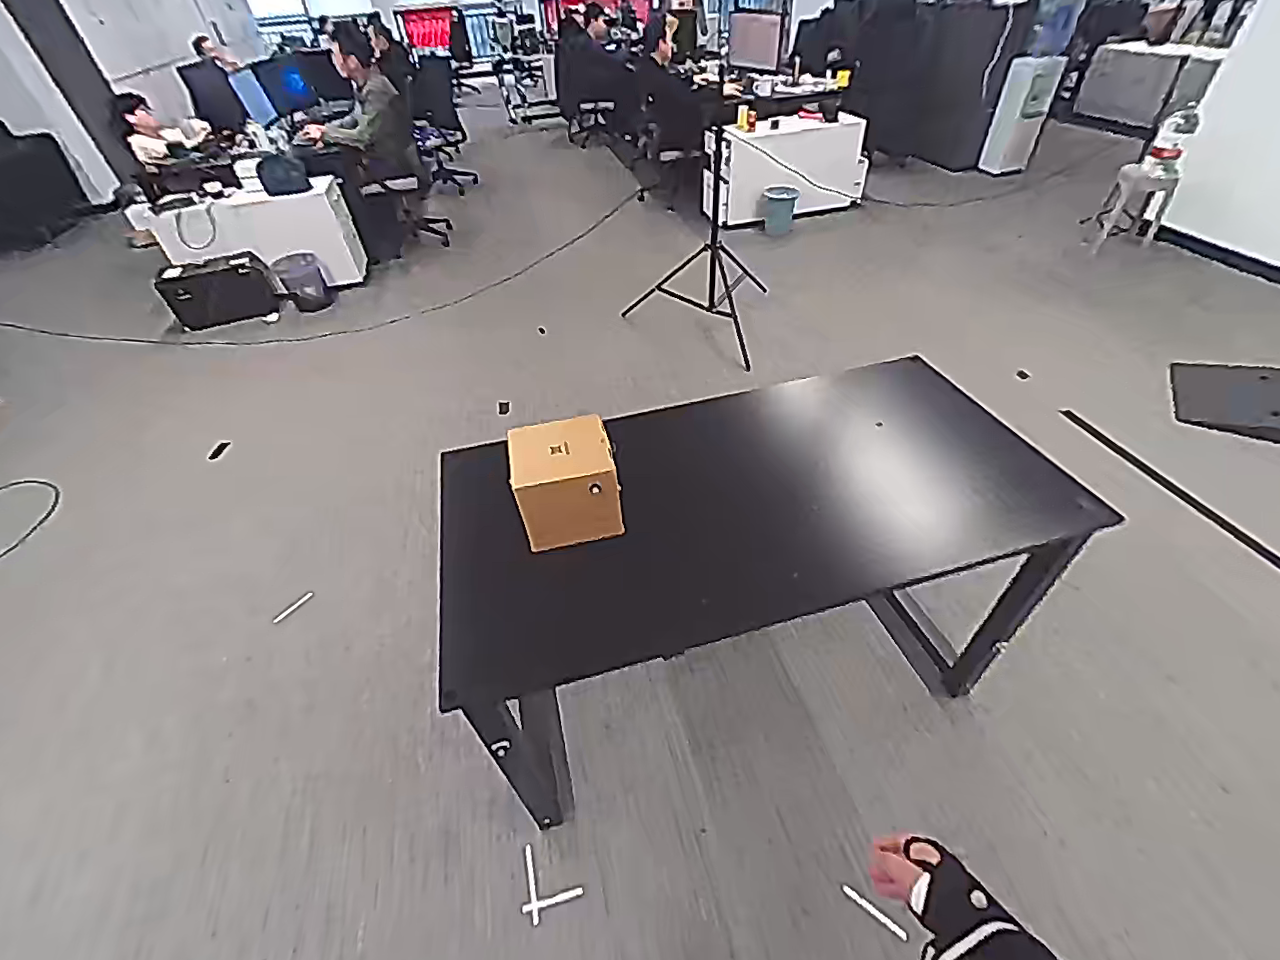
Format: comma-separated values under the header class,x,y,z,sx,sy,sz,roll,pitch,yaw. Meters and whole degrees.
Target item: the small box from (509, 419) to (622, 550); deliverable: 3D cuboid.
class,x,y,z,sx,sy,sz,roll,pitch,yaw
small box,-0.138,0.011,1.016,0.179,0.176,0.168,-11,44,-8
